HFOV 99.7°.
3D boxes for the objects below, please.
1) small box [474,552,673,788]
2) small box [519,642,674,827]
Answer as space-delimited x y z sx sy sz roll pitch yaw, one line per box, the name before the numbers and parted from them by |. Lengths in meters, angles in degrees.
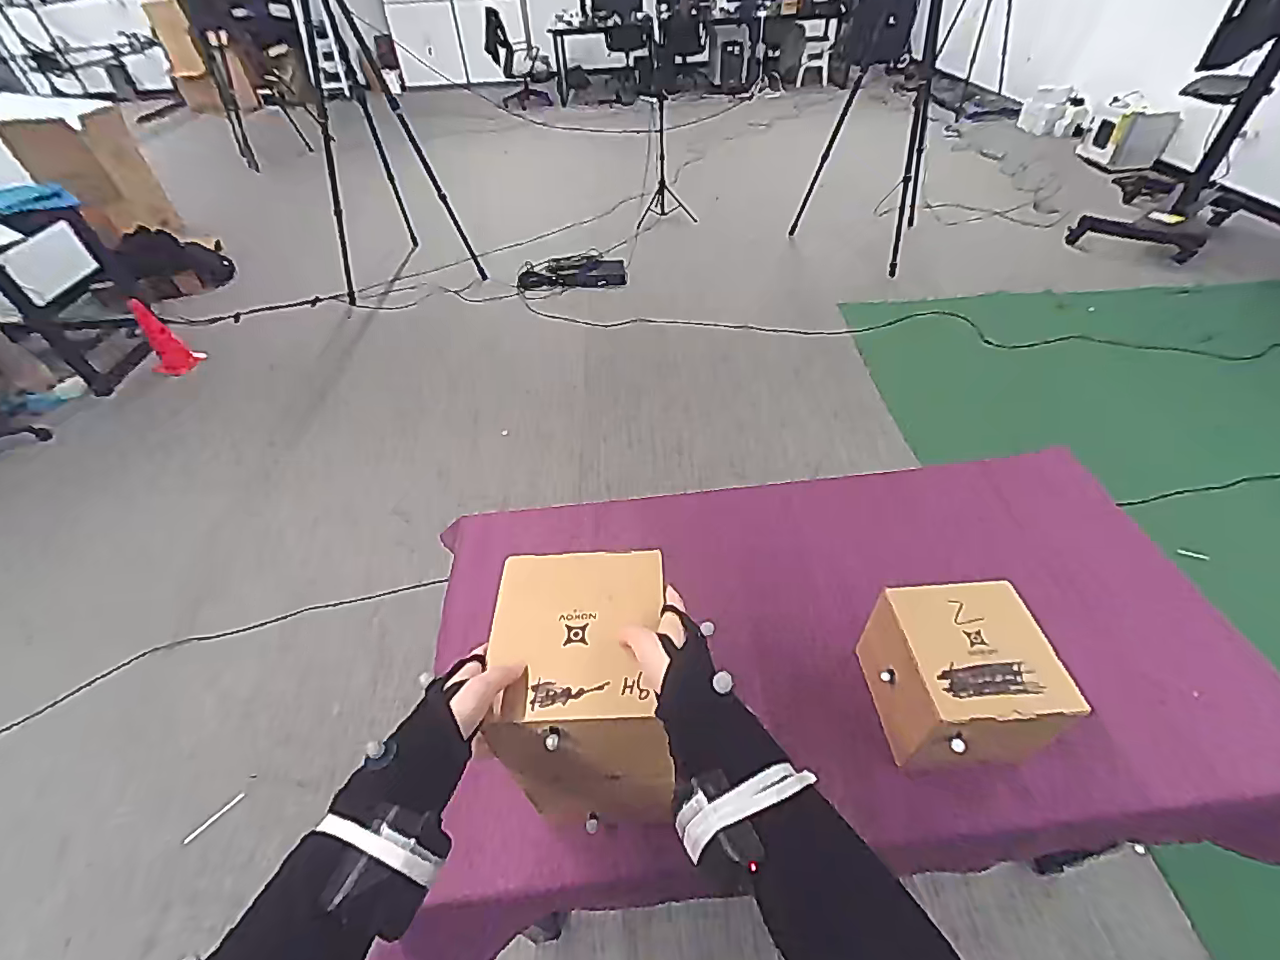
small box | -0.054 0.197 0.565 0.168 0.176 0.179 -4 44 3
small box | -0.043 0.315 0.681 0.168 0.176 0.179 -3 45 2
